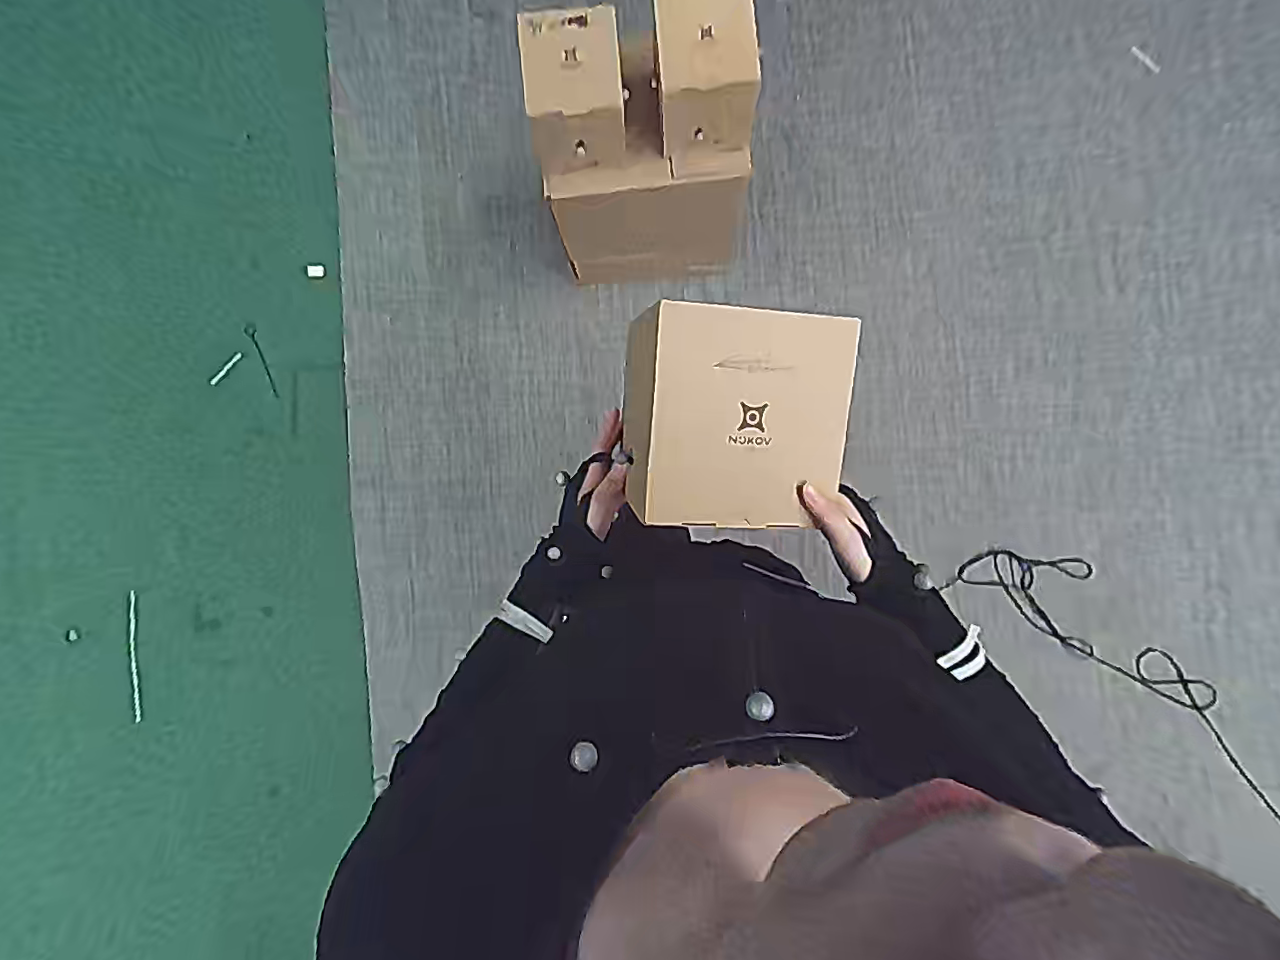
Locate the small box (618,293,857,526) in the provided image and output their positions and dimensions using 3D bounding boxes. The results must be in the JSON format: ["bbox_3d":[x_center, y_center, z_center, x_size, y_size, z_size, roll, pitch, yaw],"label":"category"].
[{"bbox_3d":[0.073,-0.065,0.507,0.168,0.176,0.179,3,100,-10],"label":"small box"}]

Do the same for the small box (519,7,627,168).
[{"bbox_3d":[-0.113,-0.689,0.974,0.168,0.176,0.179,-5,90,0],"label":"small box"}]

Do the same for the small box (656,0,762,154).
[{"bbox_3d":[0.116,-0.726,0.969,0.168,0.176,0.179,-5,88,3],"label":"small box"}]
